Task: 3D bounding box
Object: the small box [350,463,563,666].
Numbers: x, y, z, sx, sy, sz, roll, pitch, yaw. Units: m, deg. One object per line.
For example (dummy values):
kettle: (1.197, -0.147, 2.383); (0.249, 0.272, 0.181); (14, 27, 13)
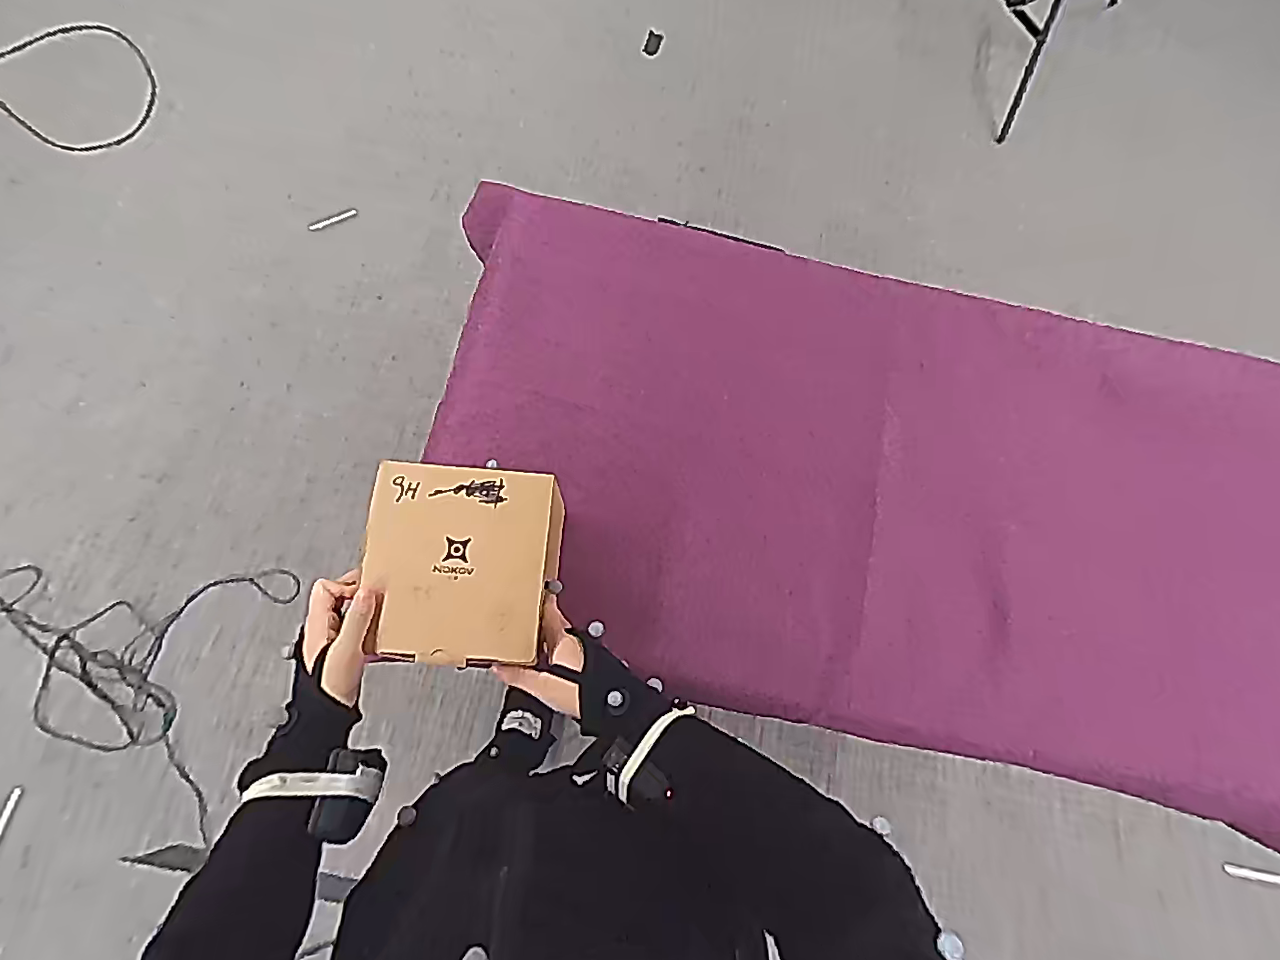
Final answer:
small box: (-0.174, 0.092, 0.574); (0.168, 0.176, 0.179); (5, 77, -4)
